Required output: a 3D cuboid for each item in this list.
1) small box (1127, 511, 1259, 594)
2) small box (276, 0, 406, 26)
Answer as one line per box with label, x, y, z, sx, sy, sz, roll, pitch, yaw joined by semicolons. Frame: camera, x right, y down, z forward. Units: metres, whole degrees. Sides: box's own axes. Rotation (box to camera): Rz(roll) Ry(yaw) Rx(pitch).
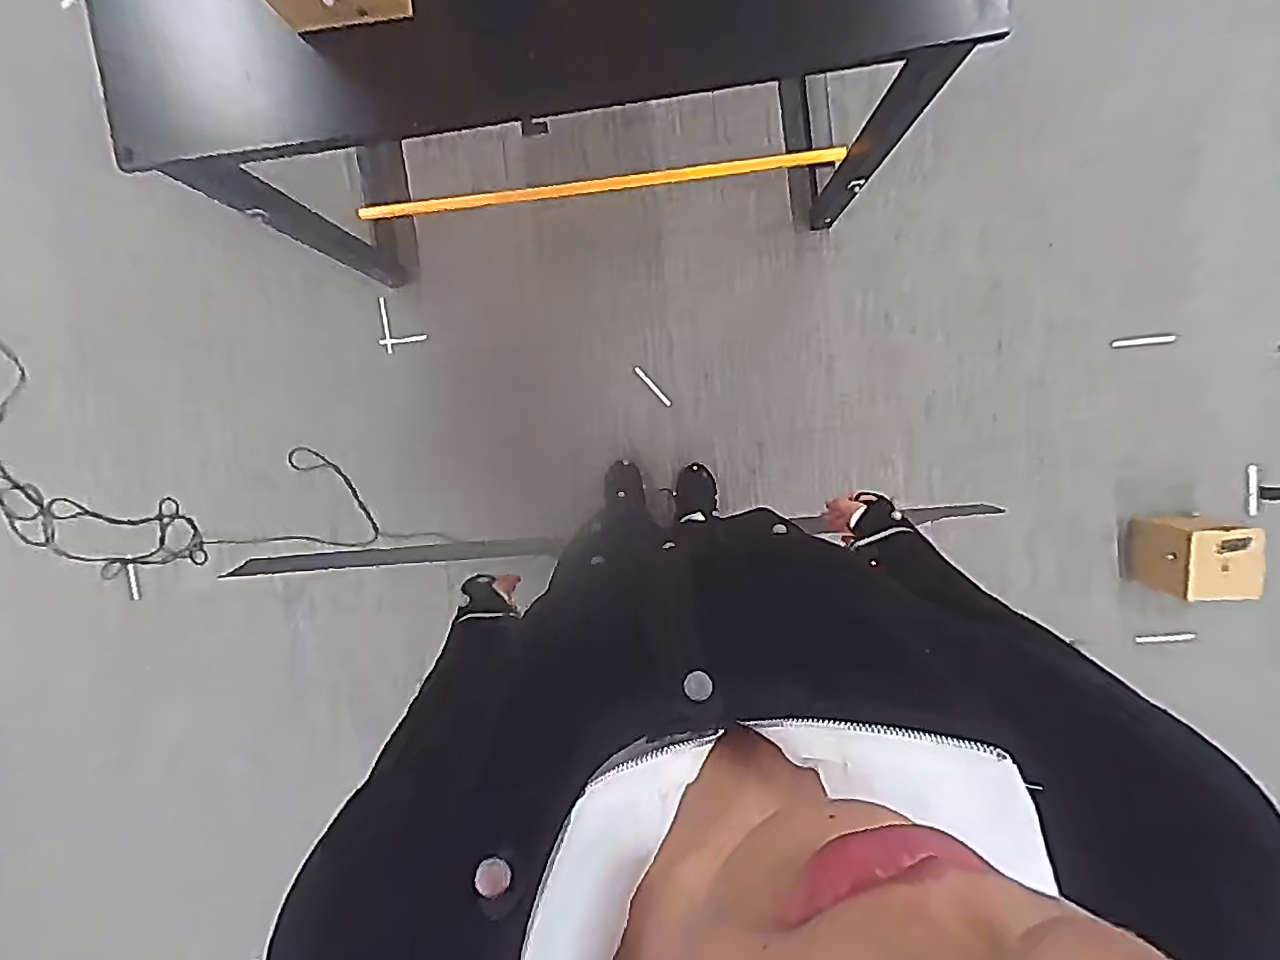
small box;1.386;0.176;1.367;0.168;0.176;0.179;-3;97;4
small box;-0.396;-0.688;0.630;0.168;0.176;0.179;-5;96;4
